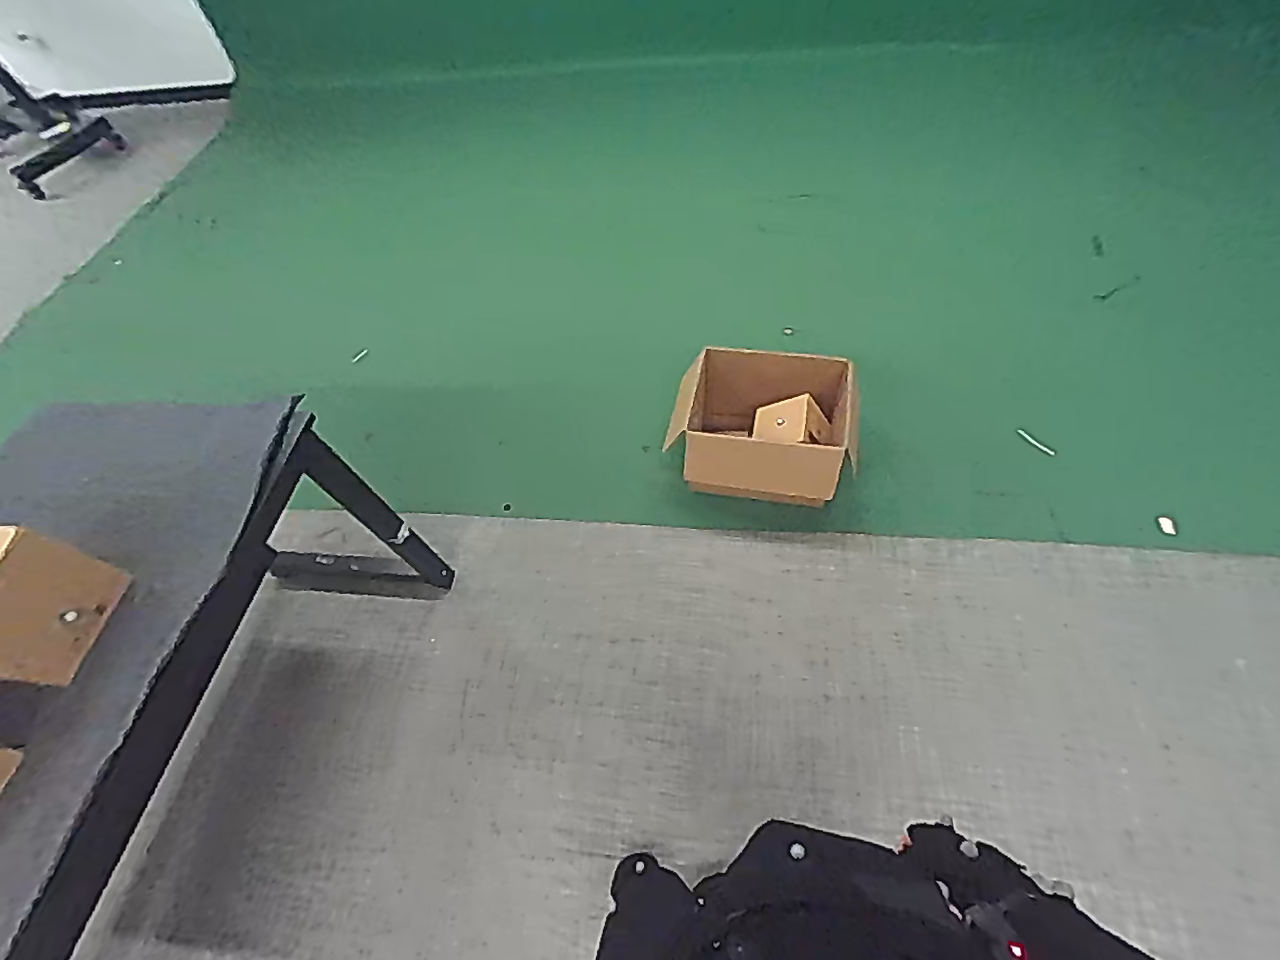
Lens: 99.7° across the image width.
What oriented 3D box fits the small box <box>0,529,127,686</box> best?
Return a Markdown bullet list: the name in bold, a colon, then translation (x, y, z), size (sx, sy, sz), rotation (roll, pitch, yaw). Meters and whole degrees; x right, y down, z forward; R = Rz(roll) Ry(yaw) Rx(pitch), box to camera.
- **small box**: translation (-0.880, 0.174, 0.732), size (0.179, 0.176, 0.168), rotation (1, 58, 7)
